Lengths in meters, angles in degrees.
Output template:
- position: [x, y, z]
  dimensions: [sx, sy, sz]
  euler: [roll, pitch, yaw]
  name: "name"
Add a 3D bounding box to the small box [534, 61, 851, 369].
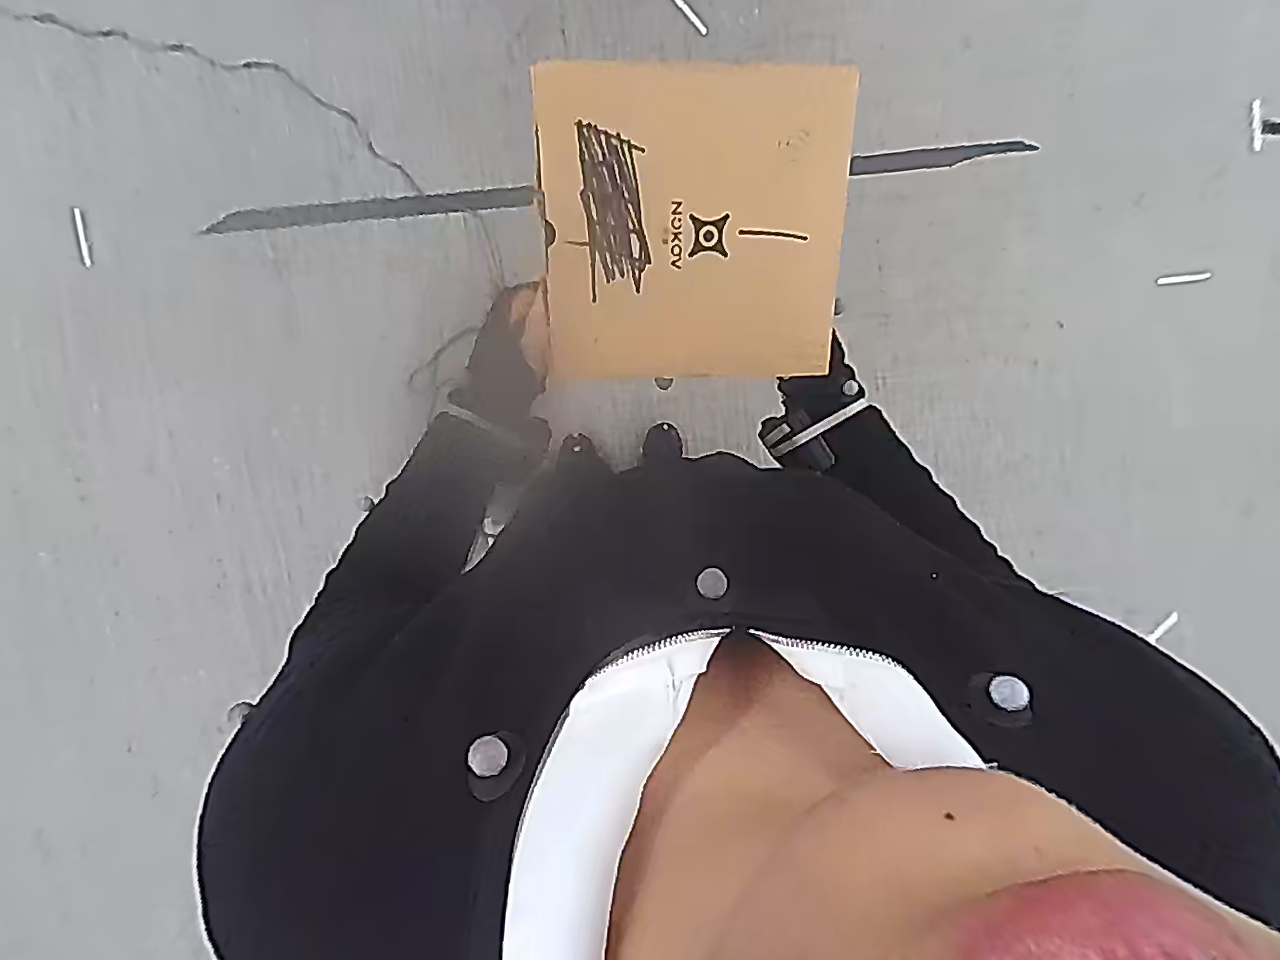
- position: [0.026, -0.173, 0.394]
  dimensions: [0.179, 0.176, 0.168]
  euler: [-2, 110, -3]
  name: "small box"
